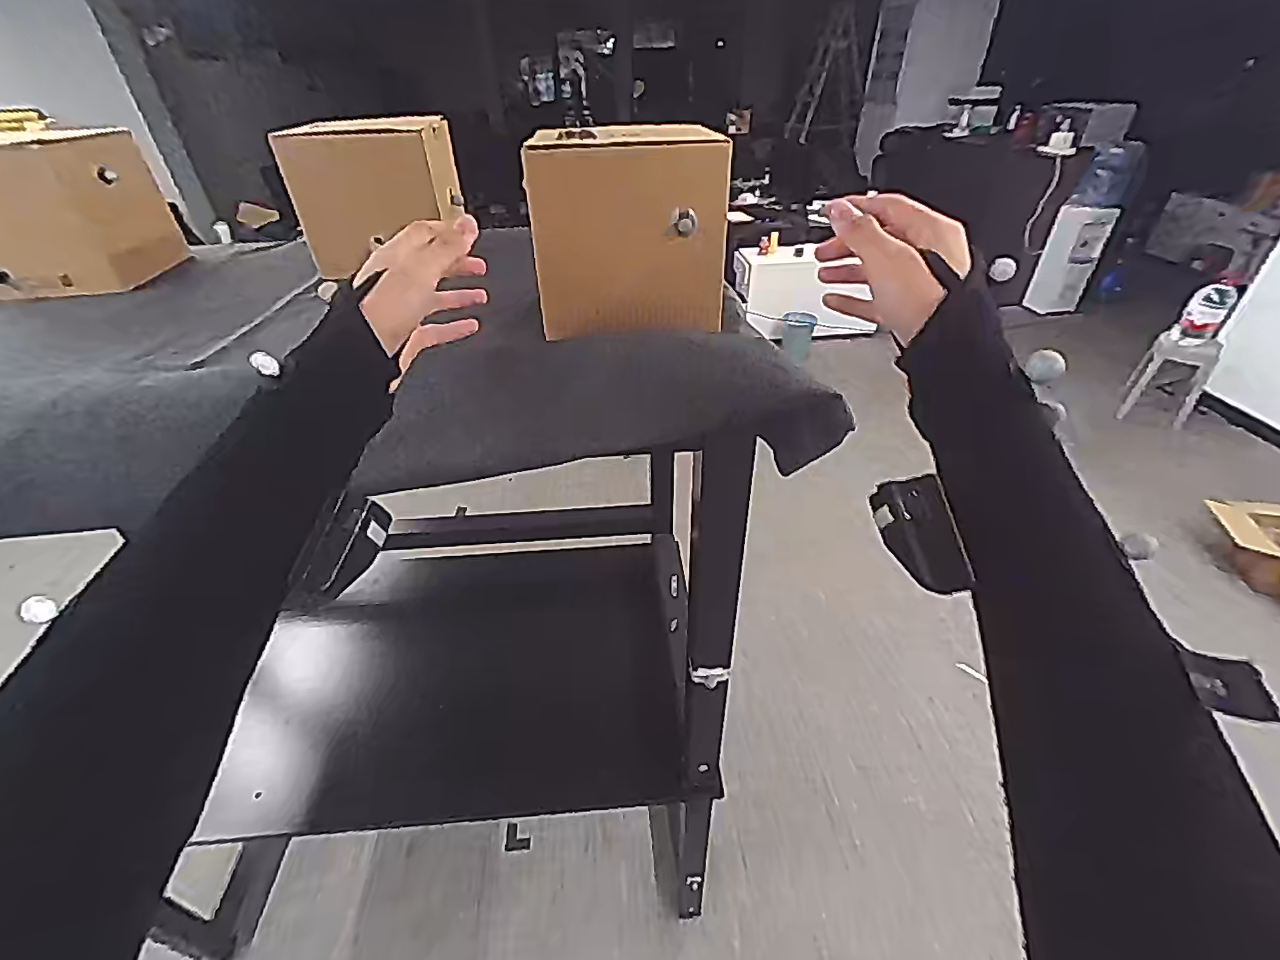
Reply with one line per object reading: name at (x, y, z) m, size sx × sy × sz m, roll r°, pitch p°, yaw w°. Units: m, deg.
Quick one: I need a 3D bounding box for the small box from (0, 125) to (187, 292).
small box at (-0.749, -0.351, 0.702) m, size 0.168 × 0.176 × 0.179 m, roll -6°, pitch 37°, yaw -6°

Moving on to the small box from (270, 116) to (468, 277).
small box at (-0.343, -0.385, 0.733) m, size 0.179 × 0.176 × 0.168 m, roll -4°, pitch 37°, yaw -4°
